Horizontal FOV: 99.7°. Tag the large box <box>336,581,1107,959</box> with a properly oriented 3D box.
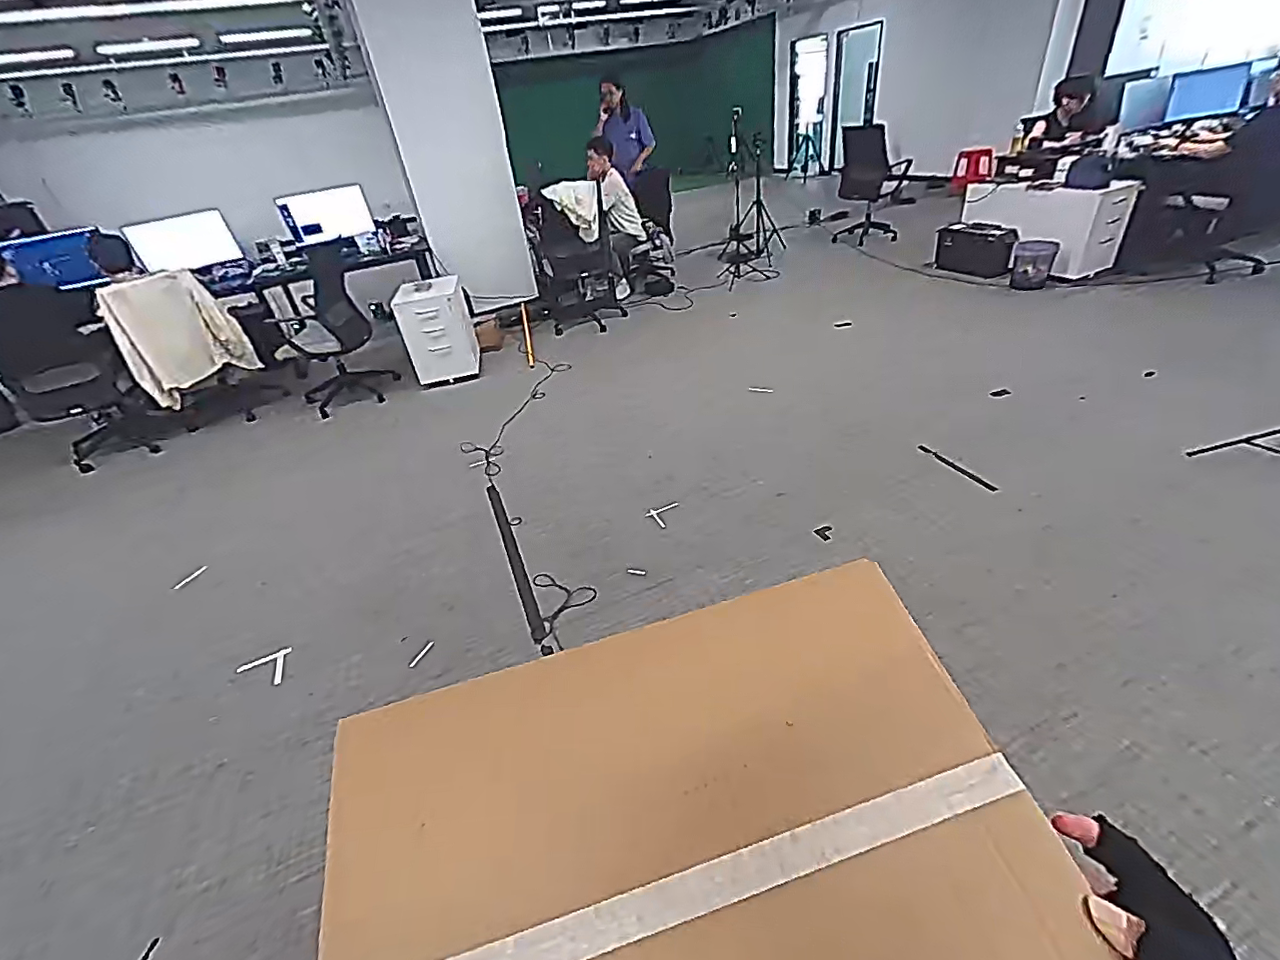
[{"bbox_3d":[0.043,0.335,0.420,0.408,0.320,0.320,-16,51,-7],"label":"large box"}]
